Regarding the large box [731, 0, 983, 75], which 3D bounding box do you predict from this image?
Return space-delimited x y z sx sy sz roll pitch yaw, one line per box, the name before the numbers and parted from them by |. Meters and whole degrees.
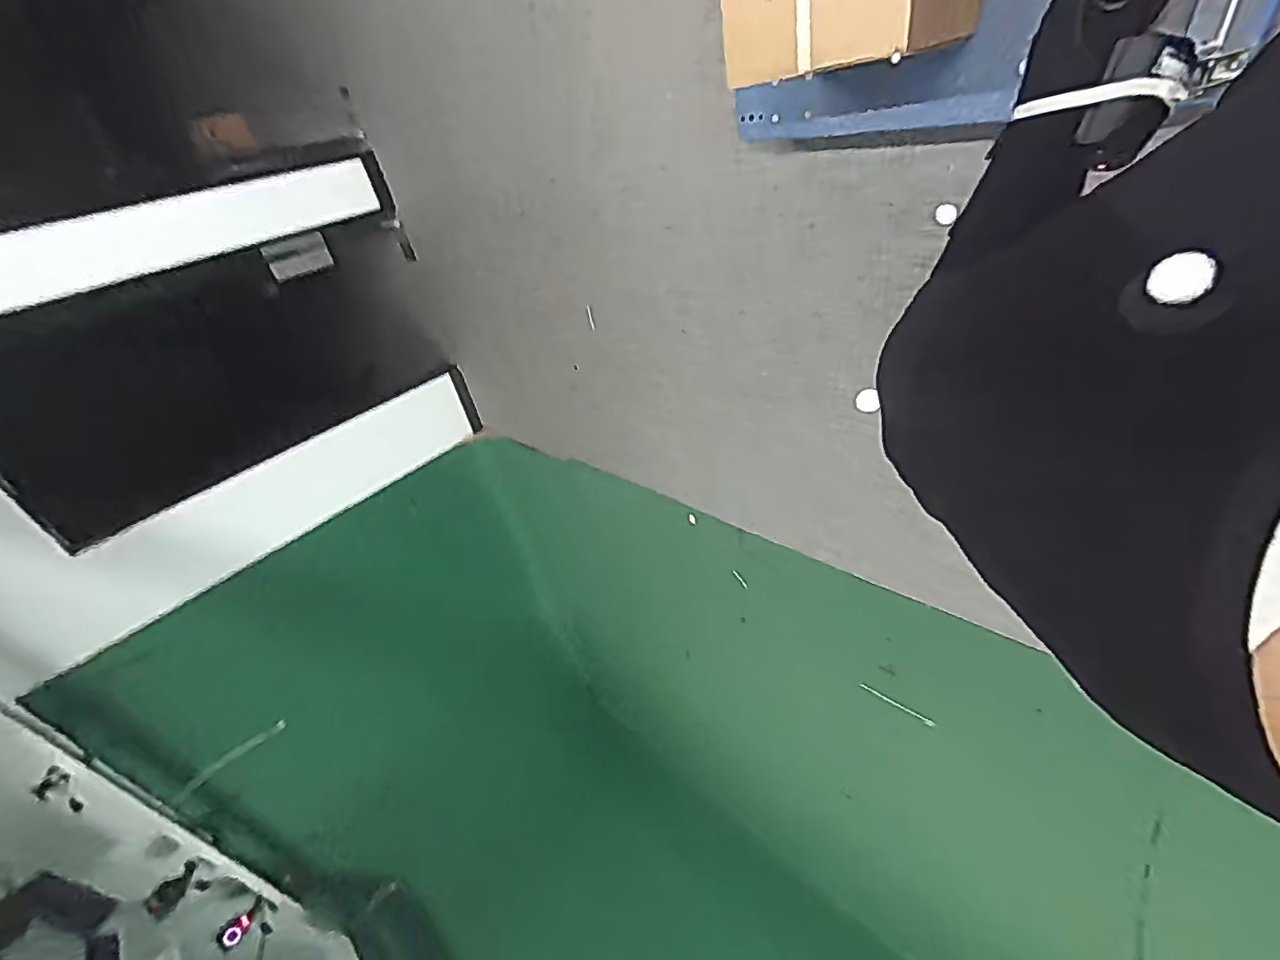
large box | 0.341 -0.909 0.823 0.320 0.320 0.408 21 137 38
